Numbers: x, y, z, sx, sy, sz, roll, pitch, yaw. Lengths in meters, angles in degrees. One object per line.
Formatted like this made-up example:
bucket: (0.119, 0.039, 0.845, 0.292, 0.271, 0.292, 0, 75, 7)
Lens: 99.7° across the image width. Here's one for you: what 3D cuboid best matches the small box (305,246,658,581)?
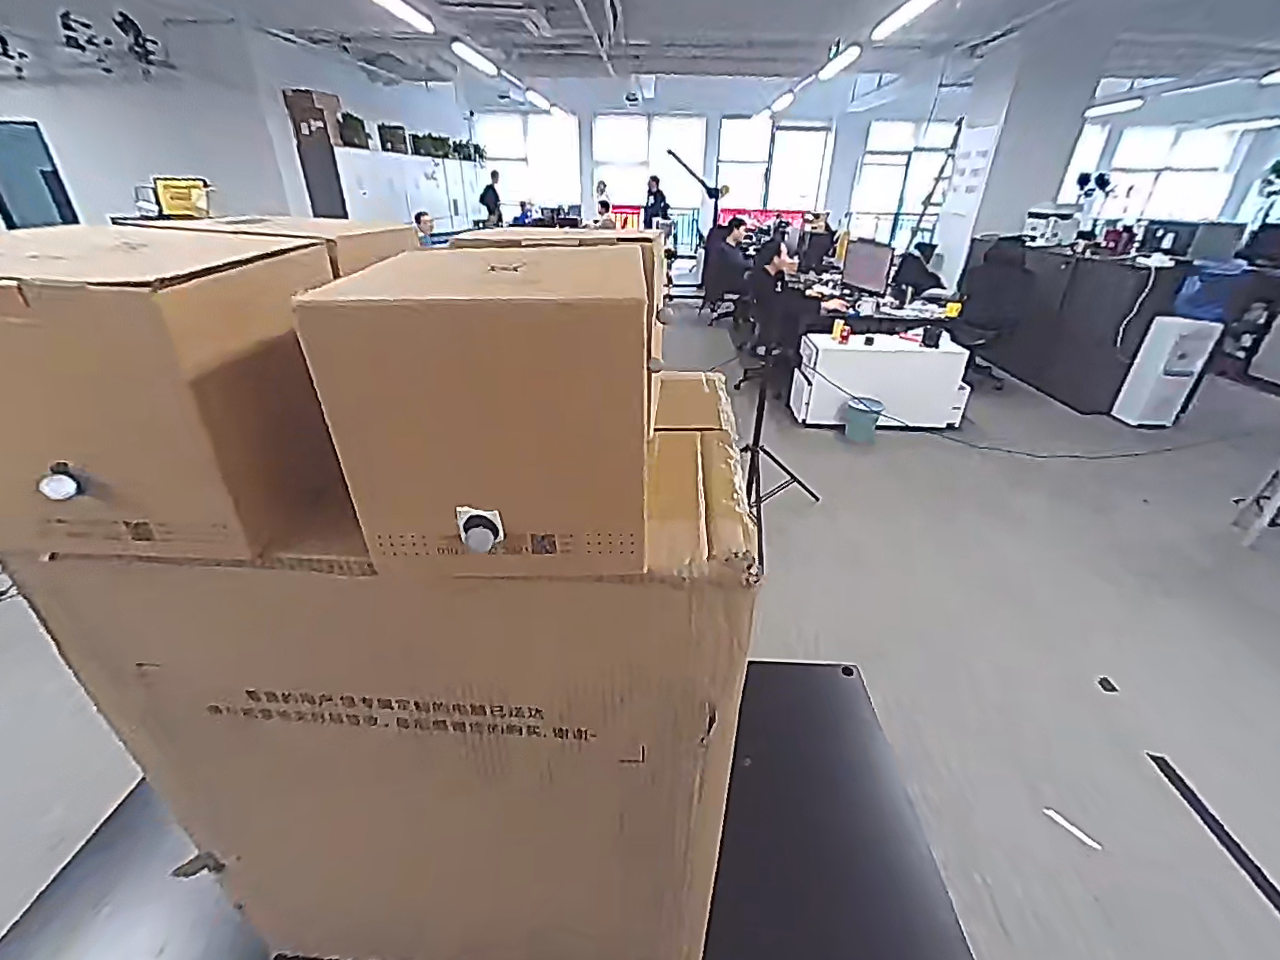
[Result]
small box: (-0.075, -0.053, 0.359, 0.168, 0.176, 0.179, -2, 31, -1)
